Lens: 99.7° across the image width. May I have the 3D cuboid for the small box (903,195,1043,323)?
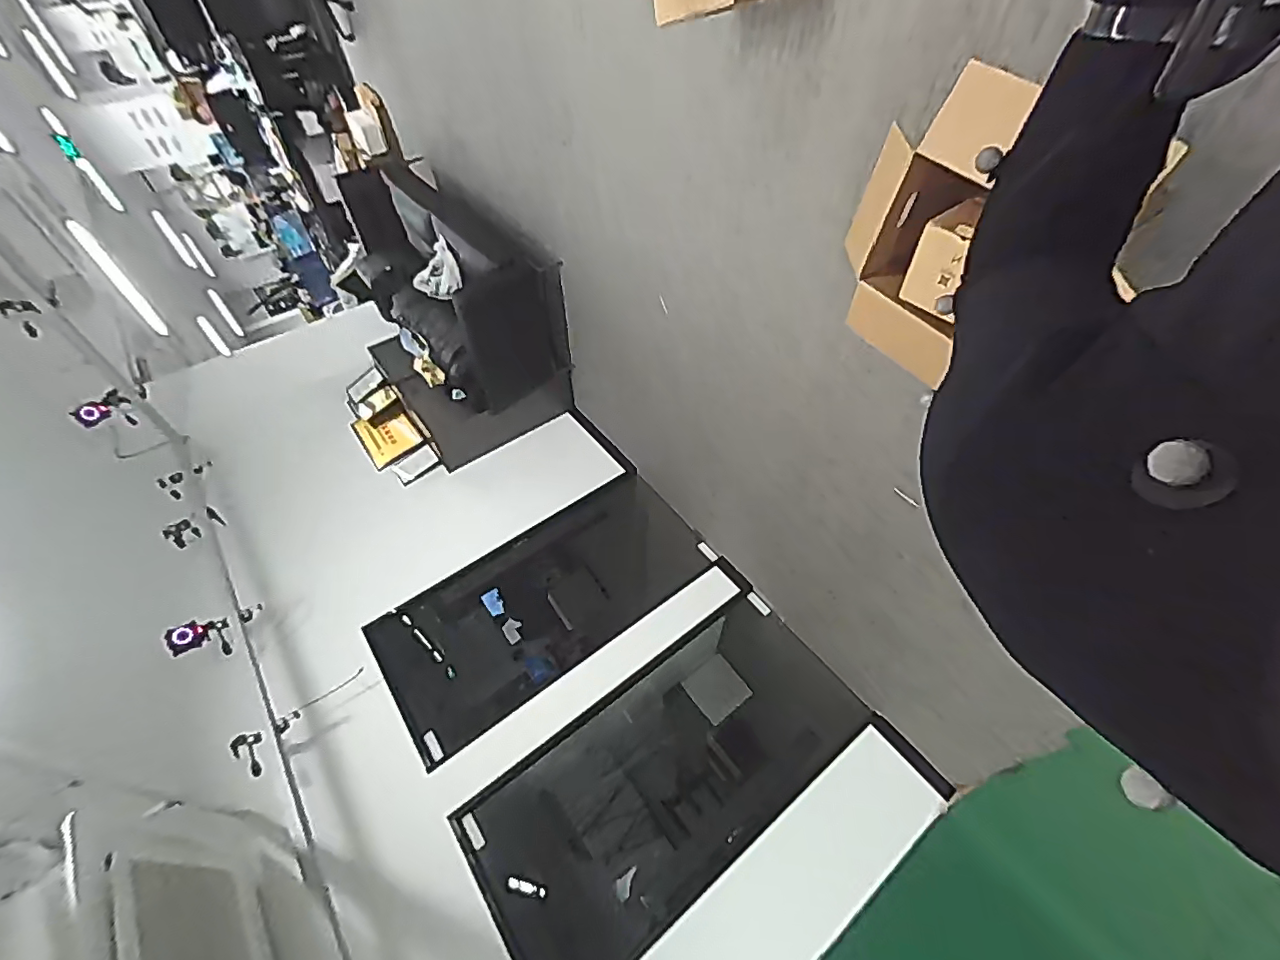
[{"bbox_3d":[0.711,-0.476,1.160,0.168,0.176,0.179,43,153,30],"label":"small box"}]
